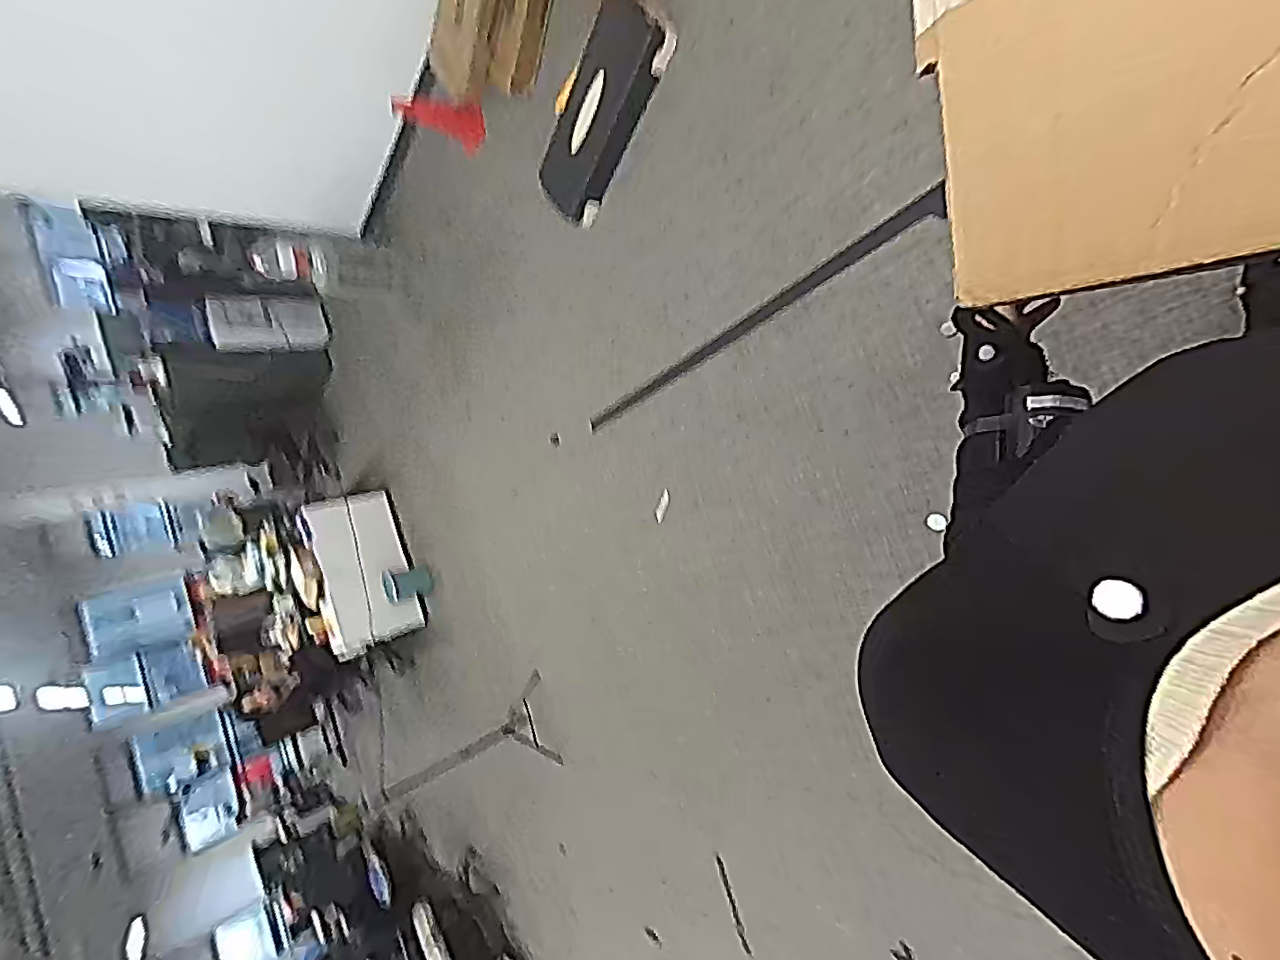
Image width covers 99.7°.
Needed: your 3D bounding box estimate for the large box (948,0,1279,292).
[{"bbox_3d":[0.395,-0.293,0.255,0.408,0.320,0.320,-1,105,40],"label":"large box"}]
